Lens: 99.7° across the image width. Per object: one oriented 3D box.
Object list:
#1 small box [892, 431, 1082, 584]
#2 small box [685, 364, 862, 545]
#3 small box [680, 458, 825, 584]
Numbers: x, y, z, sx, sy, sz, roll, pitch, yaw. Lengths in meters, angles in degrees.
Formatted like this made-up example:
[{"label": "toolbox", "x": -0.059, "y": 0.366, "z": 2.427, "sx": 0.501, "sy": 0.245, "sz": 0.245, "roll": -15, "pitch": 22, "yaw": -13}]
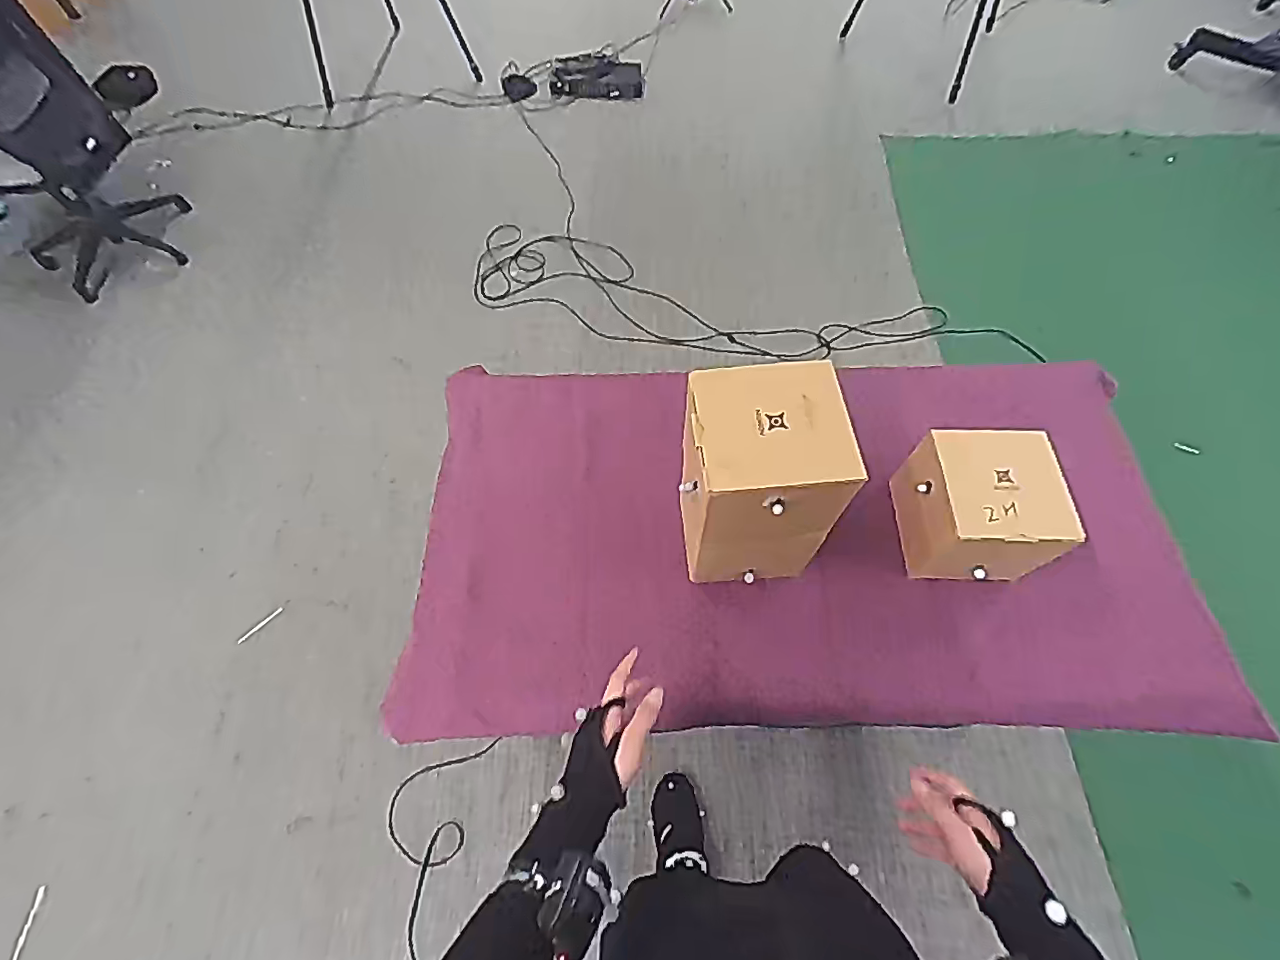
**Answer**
[{"label": "small box", "x": 0.504, "y": 0.044, "z": 0.820, "sx": 0.168, "sy": 0.176, "sz": 0.179, "roll": 1, "pitch": 62, "yaw": 3}, {"label": "small box", "x": 0.151, "y": -0.024, "z": 0.684, "sx": 0.179, "sy": 0.176, "sz": 0.168, "roll": -5, "pitch": 63, "yaw": 0}, {"label": "small box", "x": 0.159, "y": 0.054, "z": 0.828, "sx": 0.179, "sy": 0.176, "sz": 0.168, "roll": -4, "pitch": 61, "yaw": 0}]
